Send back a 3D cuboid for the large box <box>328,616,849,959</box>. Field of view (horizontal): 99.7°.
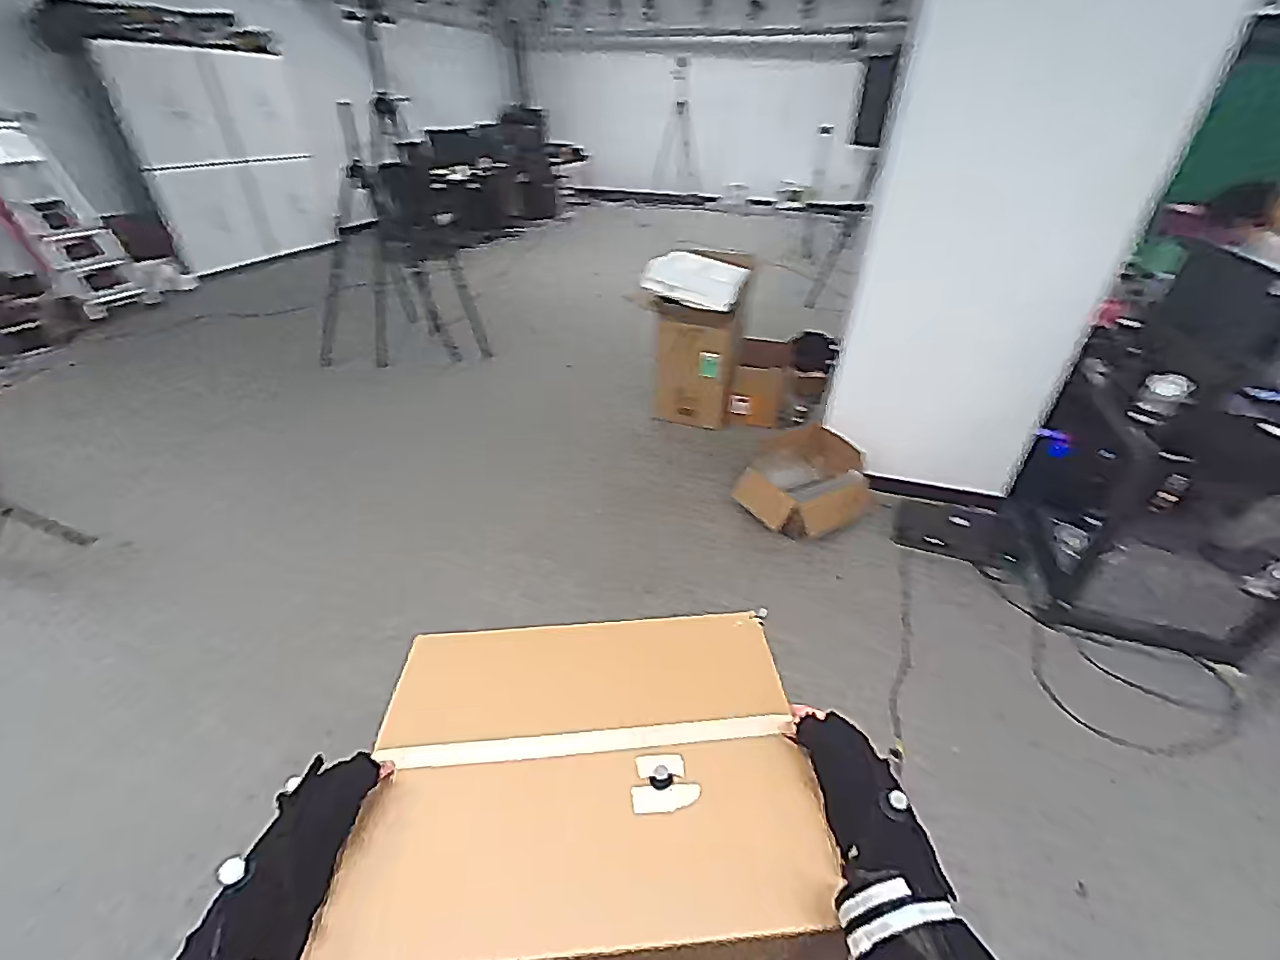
[{"bbox_3d":[-0.043,0.388,0.607,0.408,0.320,0.320,-3,31,-3],"label":"large box"}]
